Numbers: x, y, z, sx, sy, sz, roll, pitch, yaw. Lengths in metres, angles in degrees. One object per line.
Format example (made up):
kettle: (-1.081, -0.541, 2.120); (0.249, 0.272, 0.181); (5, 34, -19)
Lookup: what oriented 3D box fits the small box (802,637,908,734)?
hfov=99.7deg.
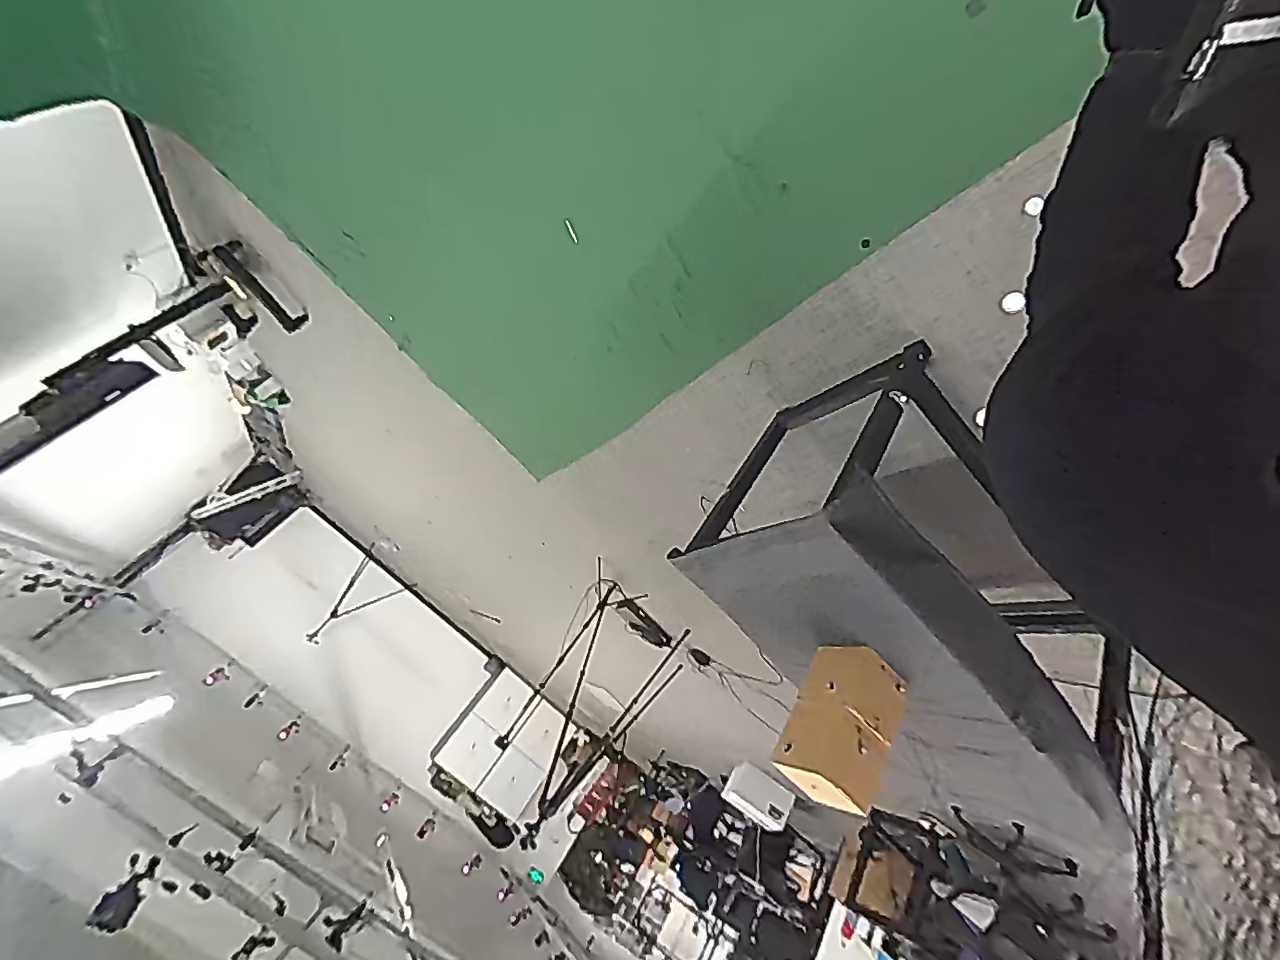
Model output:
small box: (0.560, 0.520, 1.392); (0.168, 0.176, 0.179); (44, 151, -11)

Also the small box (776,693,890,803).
small box: (0.475, 0.645, 1.326); (0.168, 0.176, 0.179); (43, 149, -10)
